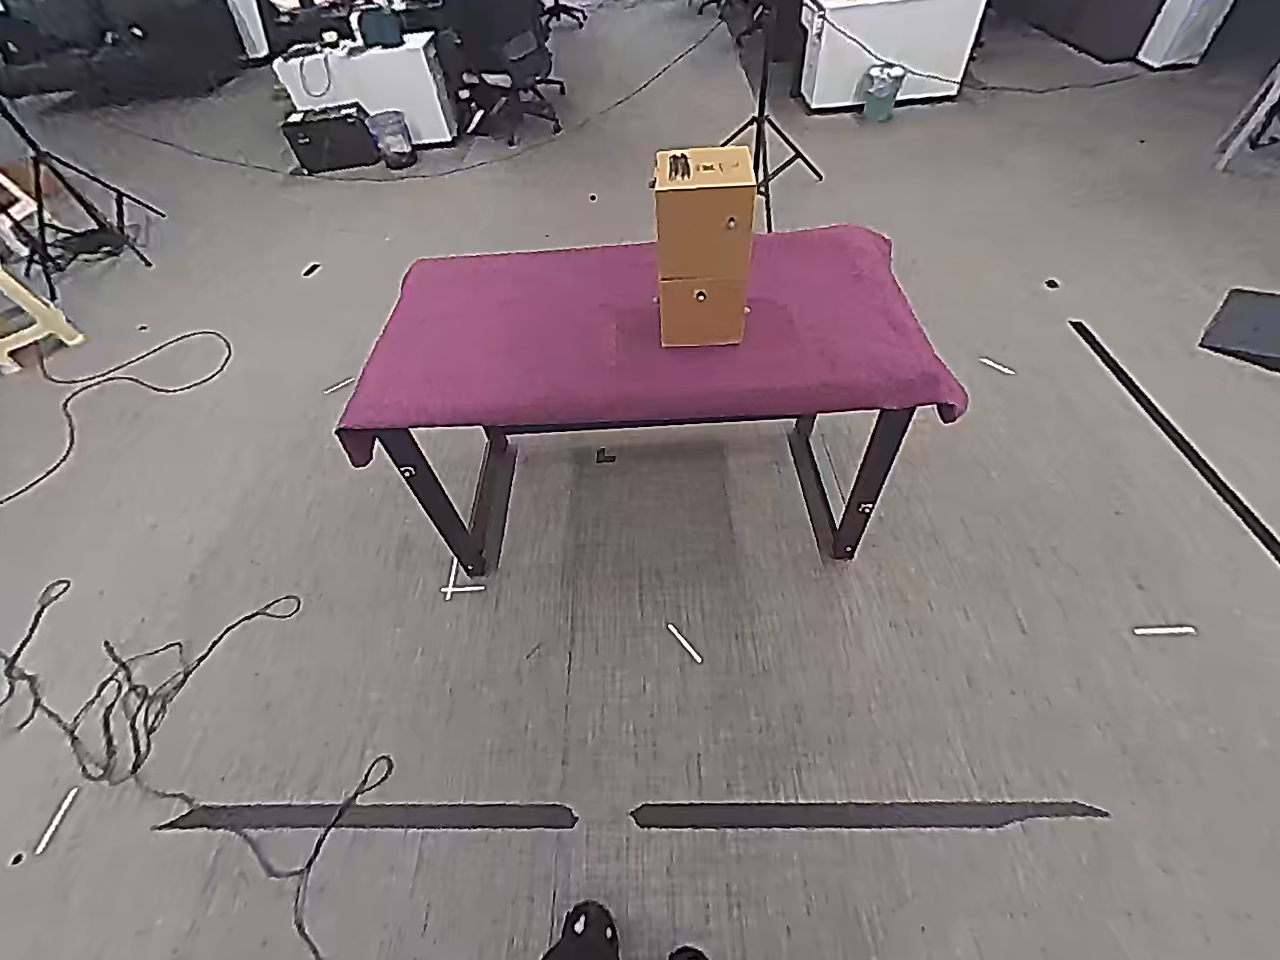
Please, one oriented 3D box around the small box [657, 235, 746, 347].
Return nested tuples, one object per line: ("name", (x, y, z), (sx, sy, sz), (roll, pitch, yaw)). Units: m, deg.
("small box", (0.129, -0.401, 1.160), (0.179, 0.176, 0.168), (-1, 52, 4))
